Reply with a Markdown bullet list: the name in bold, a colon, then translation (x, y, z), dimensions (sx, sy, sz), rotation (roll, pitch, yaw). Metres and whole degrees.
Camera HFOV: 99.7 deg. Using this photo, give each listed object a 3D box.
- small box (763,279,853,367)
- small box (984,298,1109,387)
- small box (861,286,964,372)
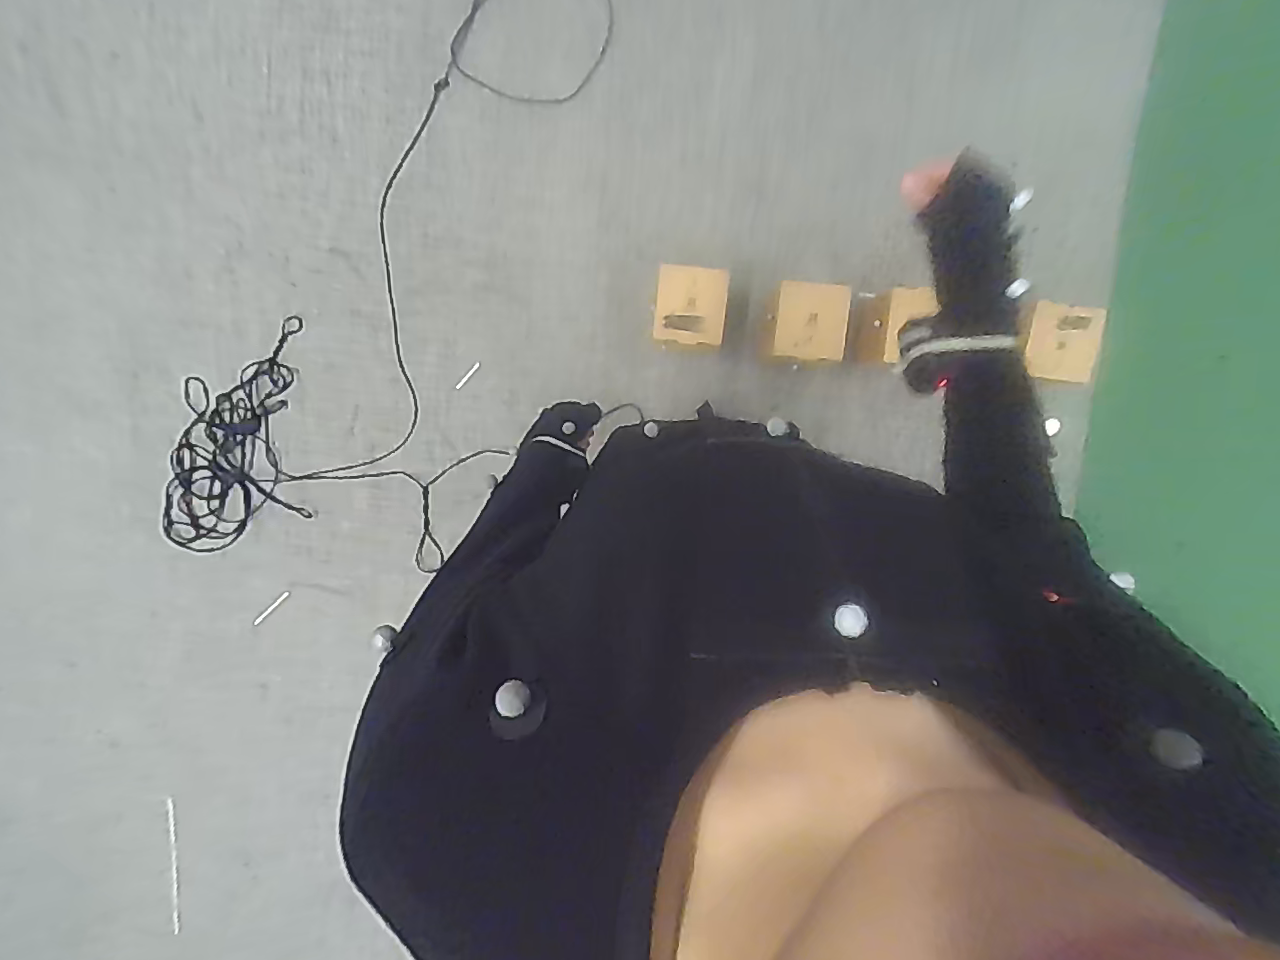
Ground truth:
- **small box**: translation (0.407, -0.381, 1.337), dimensions (0.168, 0.176, 0.179), rotation (5, 96, 2)
- **small box**: translation (0.986, -0.331, 1.329), dimensions (0.168, 0.176, 0.179), rotation (8, 97, 1)
- **small box**: translation (0.662, -0.365, 1.335), dimensions (0.168, 0.176, 0.179), rotation (4, 96, 1)
